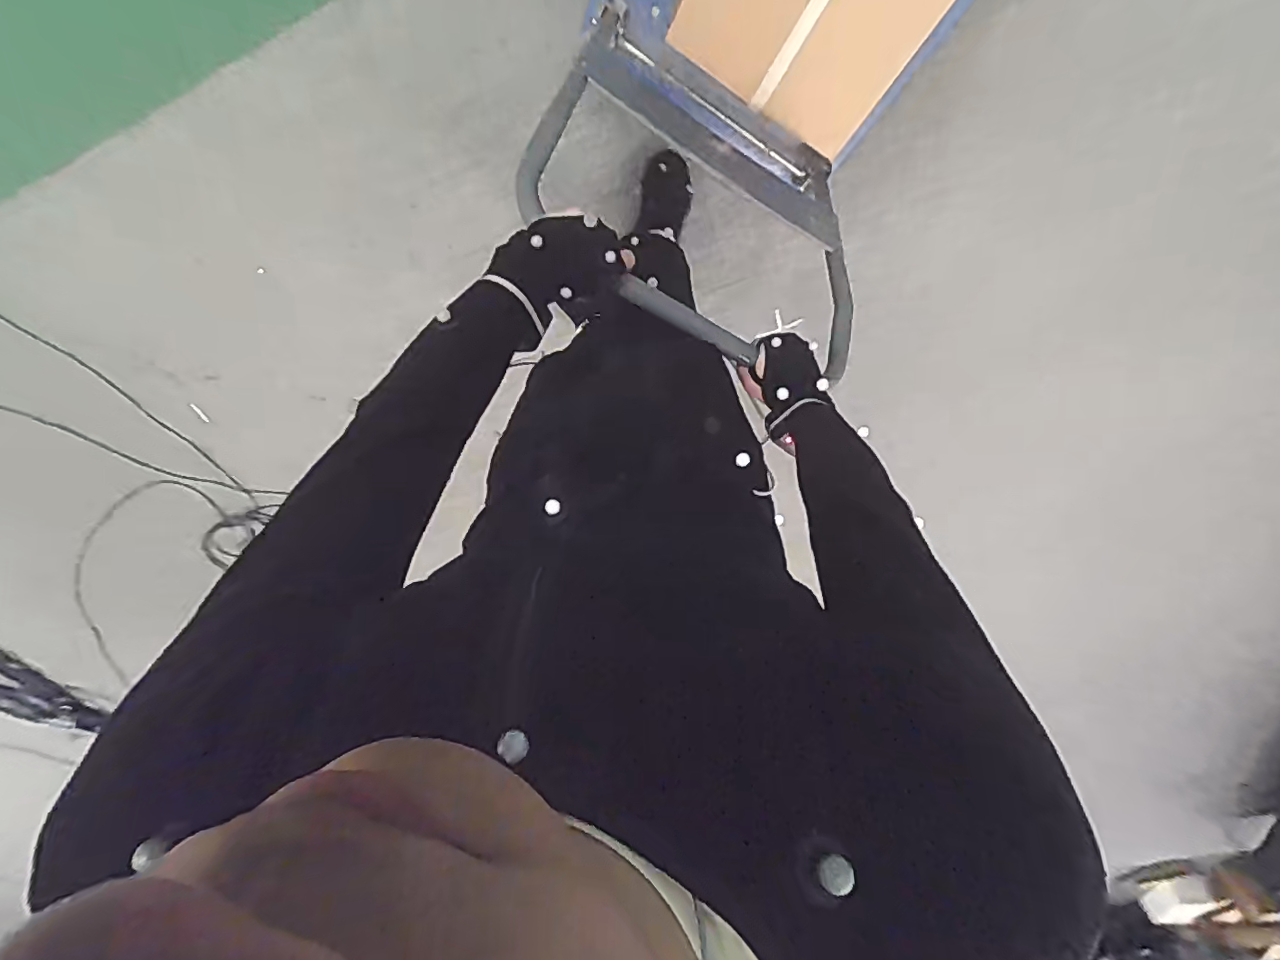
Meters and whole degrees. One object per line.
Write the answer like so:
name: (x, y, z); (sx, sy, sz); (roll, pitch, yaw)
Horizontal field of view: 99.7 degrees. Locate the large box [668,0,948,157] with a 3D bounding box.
large box: (0.276, -0.788, 0.779); (0.320, 0.320, 0.408); (23, 137, -18)
